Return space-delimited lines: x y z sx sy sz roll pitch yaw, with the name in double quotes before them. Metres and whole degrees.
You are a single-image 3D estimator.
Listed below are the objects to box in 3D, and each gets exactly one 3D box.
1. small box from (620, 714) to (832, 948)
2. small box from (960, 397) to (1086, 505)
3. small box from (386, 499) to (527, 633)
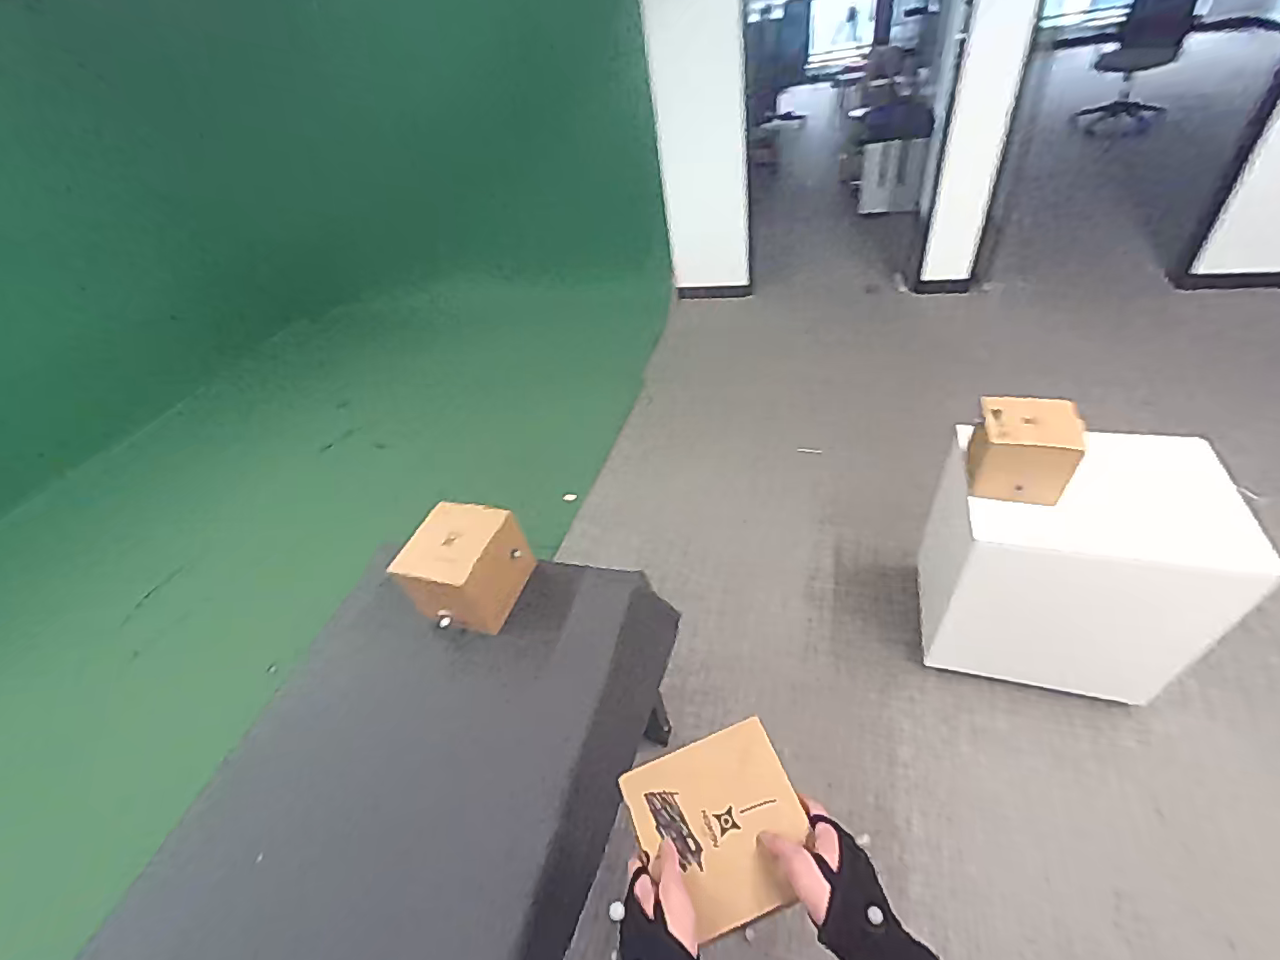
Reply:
"small box" 0.096 0.403 0.619 0.179 0.176 0.168 -21 49 -4
"small box" 0.839 -0.063 1.204 0.179 0.176 0.168 8 46 18
"small box" -0.336 0.163 1.036 0.168 0.176 0.179 6 47 20
